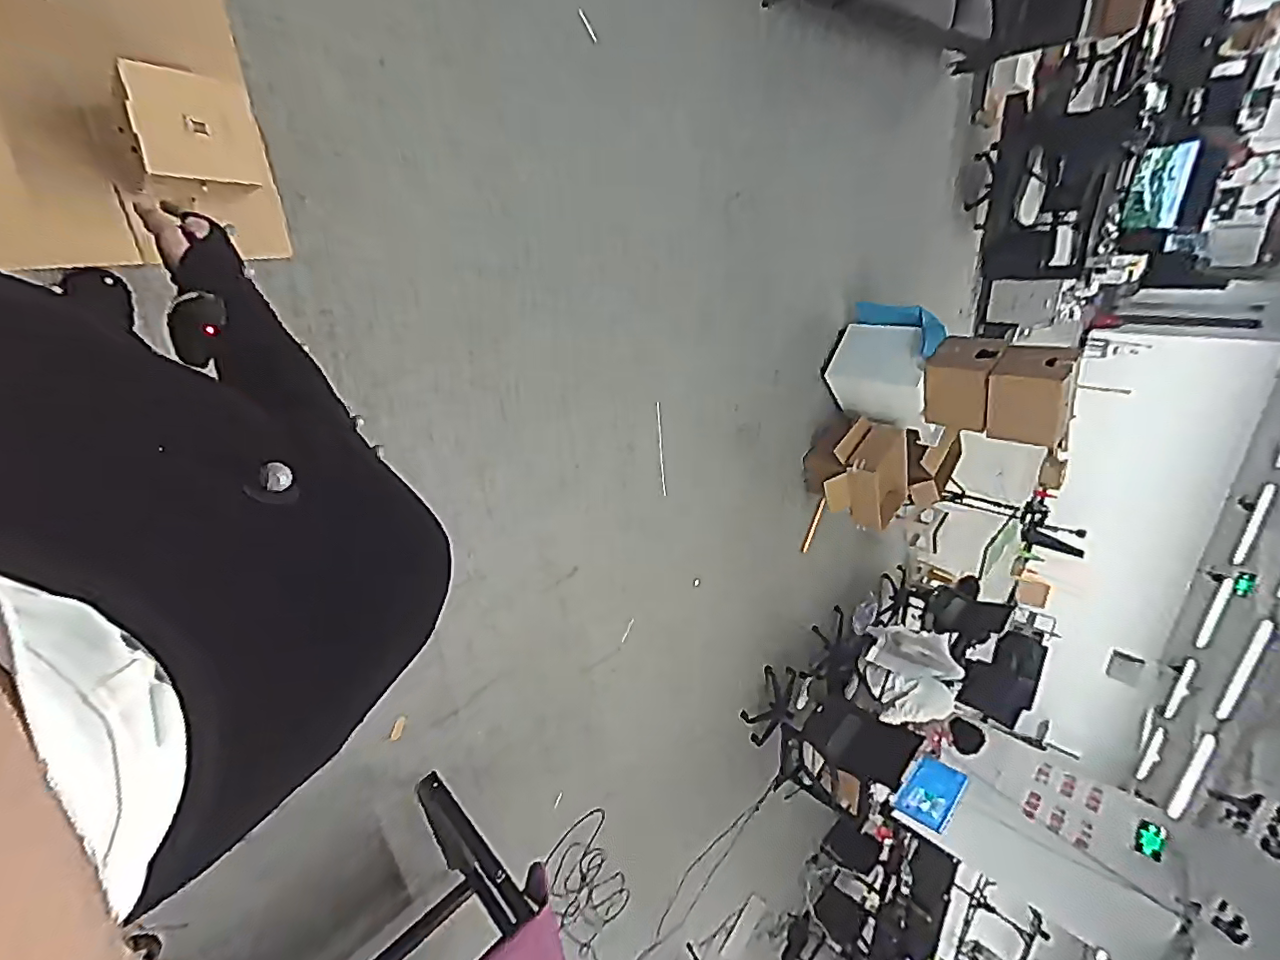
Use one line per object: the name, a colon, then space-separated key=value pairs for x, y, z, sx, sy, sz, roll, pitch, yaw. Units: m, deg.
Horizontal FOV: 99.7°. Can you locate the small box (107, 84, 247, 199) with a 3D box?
small box: x=-0.944 y=-0.678 z=1.104 sx=0.179 sy=0.176 sz=0.168 roll=-21 pitch=118 yaw=-40

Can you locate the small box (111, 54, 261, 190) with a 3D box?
small box: x=-0.831 y=-0.639 z=0.992 sx=0.179 sy=0.176 sz=0.168 roll=-17 pitch=117 yaw=-41
